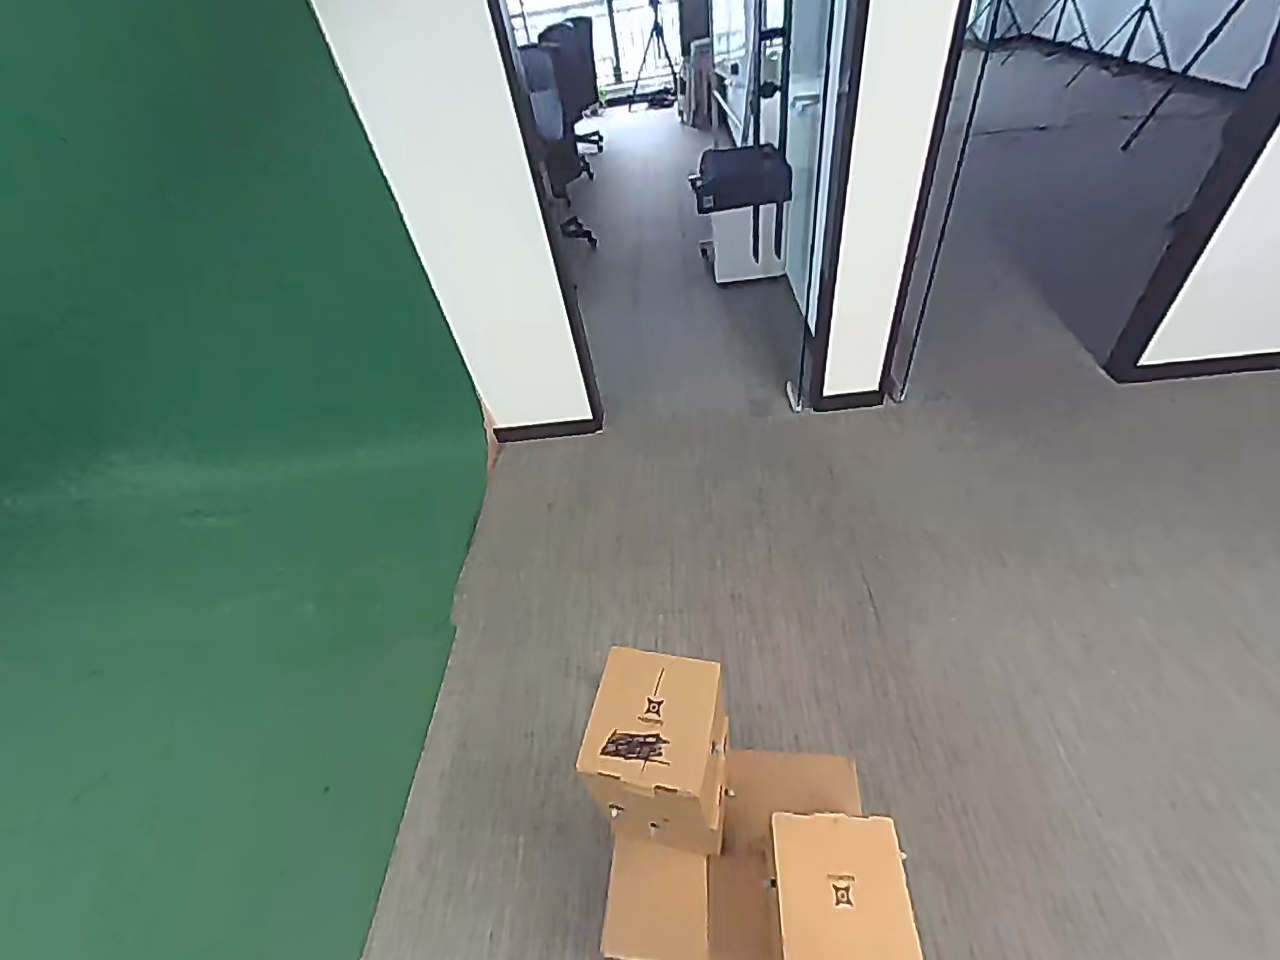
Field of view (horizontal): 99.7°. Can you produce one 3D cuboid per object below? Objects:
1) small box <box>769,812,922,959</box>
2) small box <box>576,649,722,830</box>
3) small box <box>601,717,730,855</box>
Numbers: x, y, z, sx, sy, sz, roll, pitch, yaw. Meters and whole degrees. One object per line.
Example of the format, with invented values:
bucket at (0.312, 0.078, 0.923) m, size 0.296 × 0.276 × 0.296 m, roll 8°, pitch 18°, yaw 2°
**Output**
small box at (0.271, 0.586, 0.752) m, size 0.168 × 0.176 × 0.179 m, roll -3°, pitch 45°, yaw 8°
small box at (0.026, 0.375, 0.780) m, size 0.168 × 0.176 × 0.179 m, roll 4°, pitch 44°, yaw 15°
small box at (0.052, 0.493, 0.892) m, size 0.179 × 0.176 × 0.168 m, roll 4°, pitch 46°, yaw 13°
